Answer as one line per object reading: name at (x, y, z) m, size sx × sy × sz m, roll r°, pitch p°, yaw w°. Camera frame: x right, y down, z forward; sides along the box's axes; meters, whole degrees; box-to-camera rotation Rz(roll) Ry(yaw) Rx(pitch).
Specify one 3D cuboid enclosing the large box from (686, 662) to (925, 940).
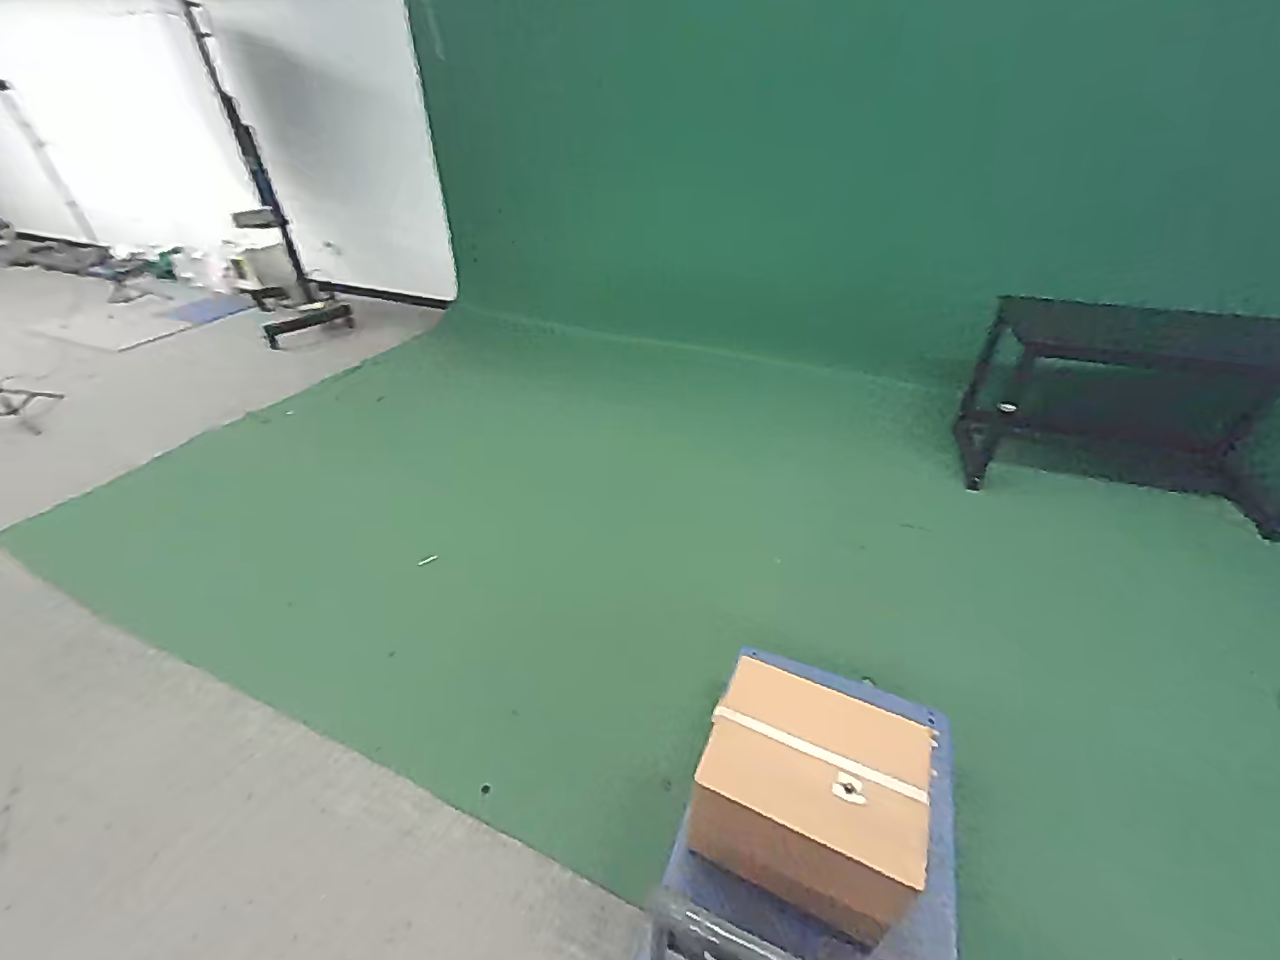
large box at (0.345, 0.670, 1.164) m, size 0.408 × 0.320 × 0.320 m, roll 17°, pitch 39°, yaw 20°
